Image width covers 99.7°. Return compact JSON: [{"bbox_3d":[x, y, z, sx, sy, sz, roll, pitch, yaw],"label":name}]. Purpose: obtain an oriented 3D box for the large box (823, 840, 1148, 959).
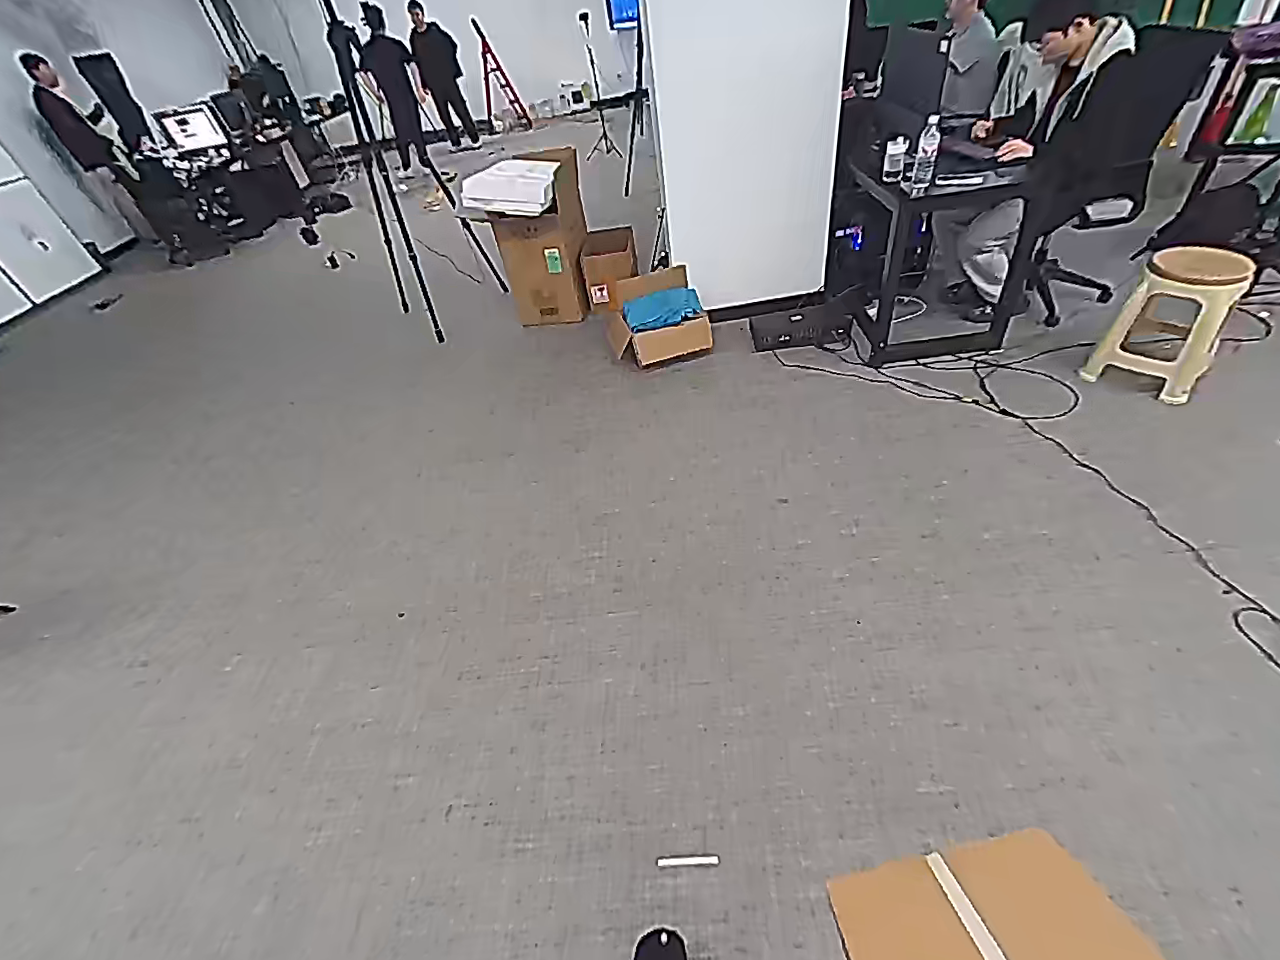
[{"bbox_3d":[0.438,0.699,0.572,0.320,0.320,0.408,-18,6,4],"label":"large box"}]
